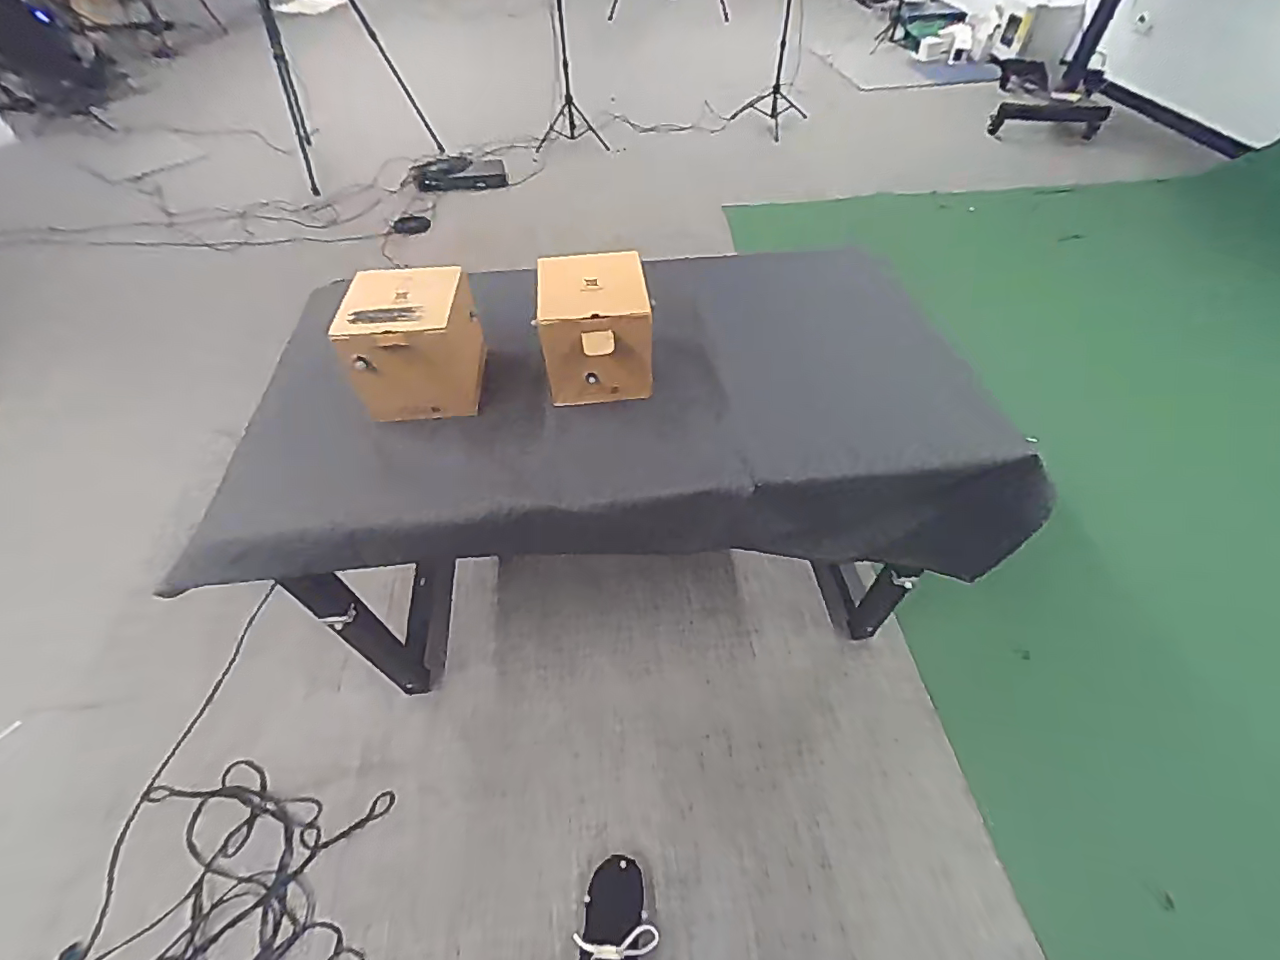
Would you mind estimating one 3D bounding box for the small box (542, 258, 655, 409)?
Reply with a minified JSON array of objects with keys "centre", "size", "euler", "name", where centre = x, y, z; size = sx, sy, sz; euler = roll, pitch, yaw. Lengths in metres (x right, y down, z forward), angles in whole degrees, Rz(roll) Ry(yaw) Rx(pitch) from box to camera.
[{"centre":[-0.069,-0.240,0.890],"size":[0.168,0.176,0.179],"euler":[-6,52,-4],"name":"small box"}]
